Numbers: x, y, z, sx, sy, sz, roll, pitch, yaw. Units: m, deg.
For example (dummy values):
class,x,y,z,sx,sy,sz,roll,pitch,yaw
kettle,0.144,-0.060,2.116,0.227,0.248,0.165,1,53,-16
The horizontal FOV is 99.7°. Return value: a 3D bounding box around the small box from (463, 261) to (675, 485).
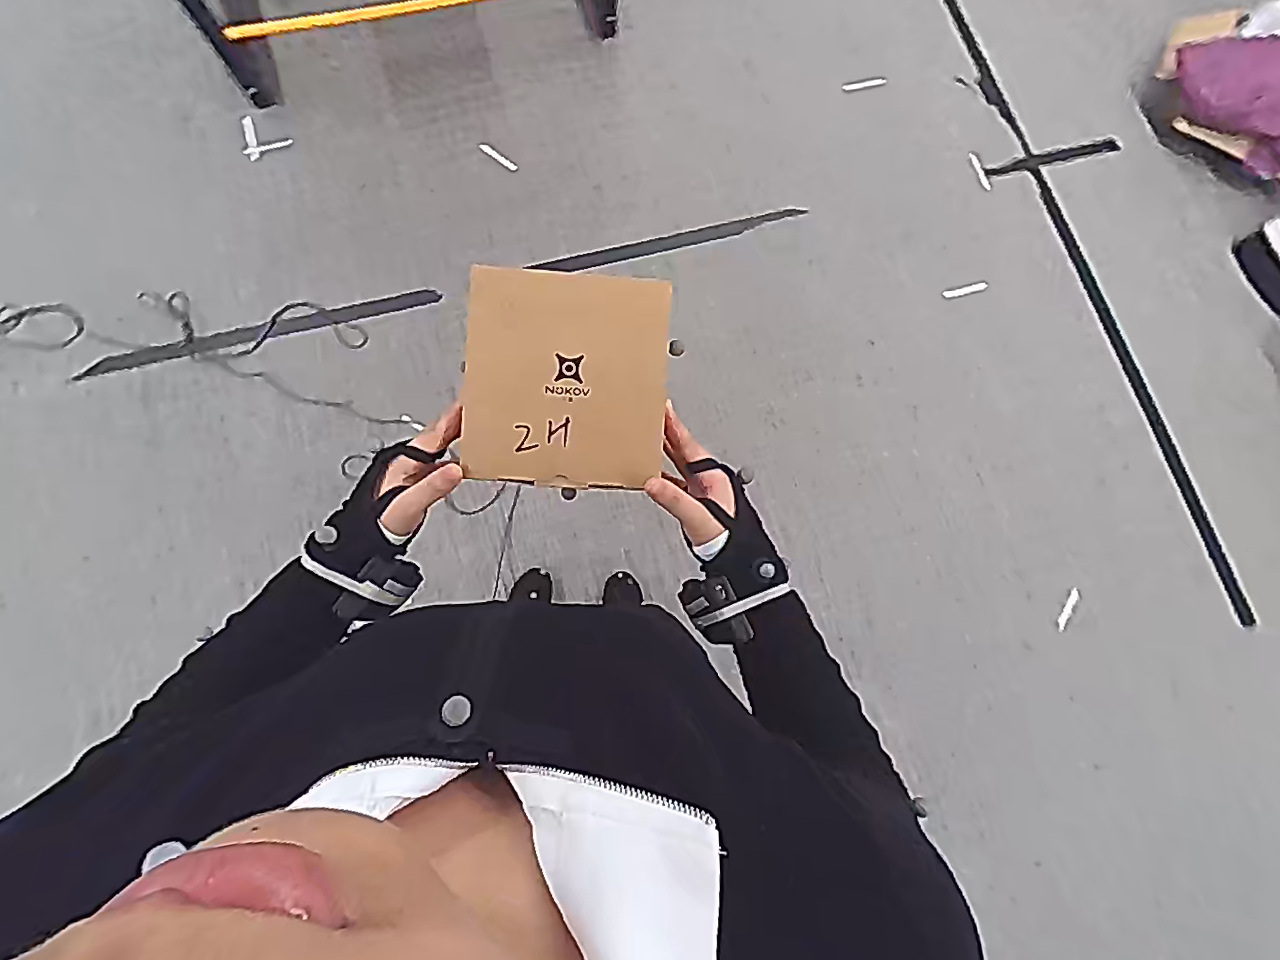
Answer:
class,x,y,z,sx,sy,sz,roll,pitch,yaw
small box,-0.062,-0.086,0.521,0.168,0.176,0.179,3,90,-3
